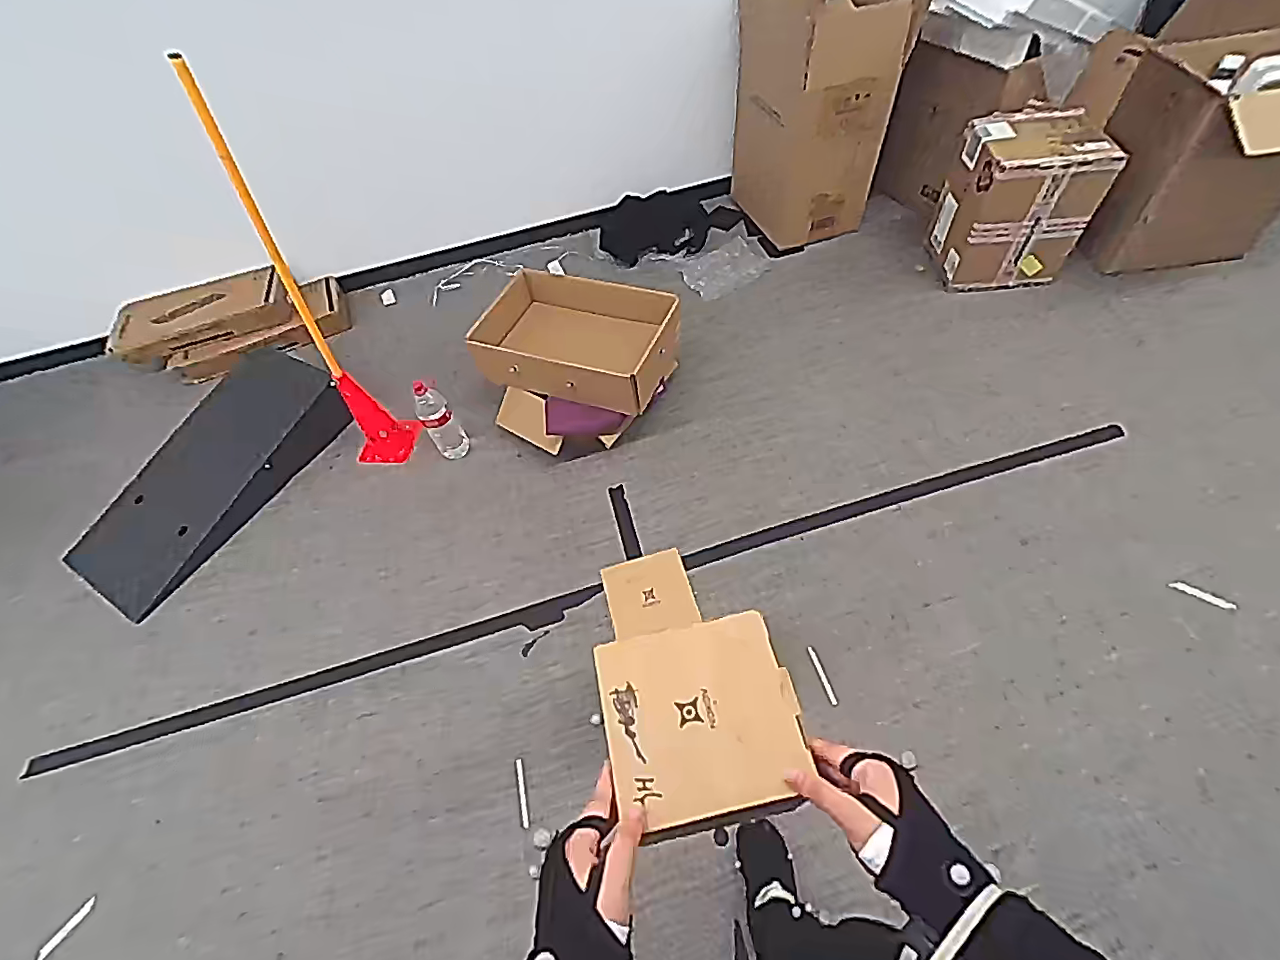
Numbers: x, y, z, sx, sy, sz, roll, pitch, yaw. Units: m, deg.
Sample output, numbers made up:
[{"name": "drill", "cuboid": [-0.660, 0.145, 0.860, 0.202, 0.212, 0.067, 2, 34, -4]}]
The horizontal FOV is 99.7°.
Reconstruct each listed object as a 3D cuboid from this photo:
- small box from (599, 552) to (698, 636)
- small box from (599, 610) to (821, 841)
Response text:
[{"name": "small box", "cuboid": [0.023, 0.279, 1.110, 0.168, 0.176, 0.179, -15, 54, -5]}, {"name": "small box", "cuboid": [0.059, 0.258, 0.562, 0.179, 0.176, 0.168, -10, 52, -4]}]
